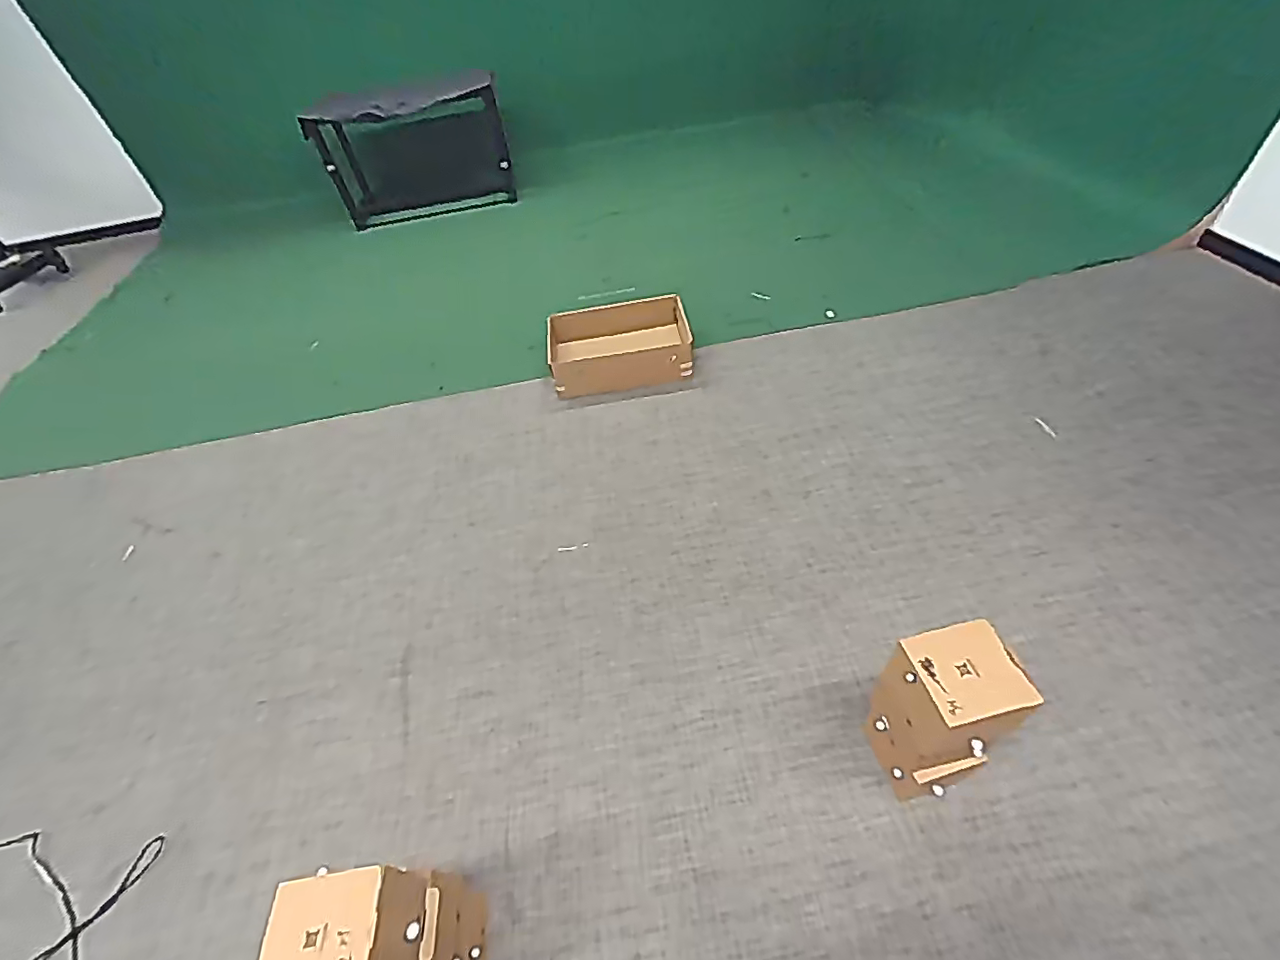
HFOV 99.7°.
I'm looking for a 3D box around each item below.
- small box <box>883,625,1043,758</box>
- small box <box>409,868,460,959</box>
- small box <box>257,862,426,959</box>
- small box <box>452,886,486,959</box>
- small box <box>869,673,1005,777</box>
[{"bbox_3d":[0.594,0.402,1.022,0.179,0.176,0.168,-12,47,-3],"label":"small box"},{"bbox_3d":[-0.448,0.832,0.992,0.179,0.176,0.168,-10,47,1],"label":"small box"},{"bbox_3d":[-0.471,0.732,0.863,0.179,0.176,0.168,-10,48,1],"label":"small box"},{"bbox_3d":[-0.427,0.950,1.105,0.179,0.176,0.168,-10,47,0],"label":"small box"},{"bbox_3d":[0.616,0.506,1.147,0.179,0.176,0.168,-13,47,-2],"label":"small box"}]
